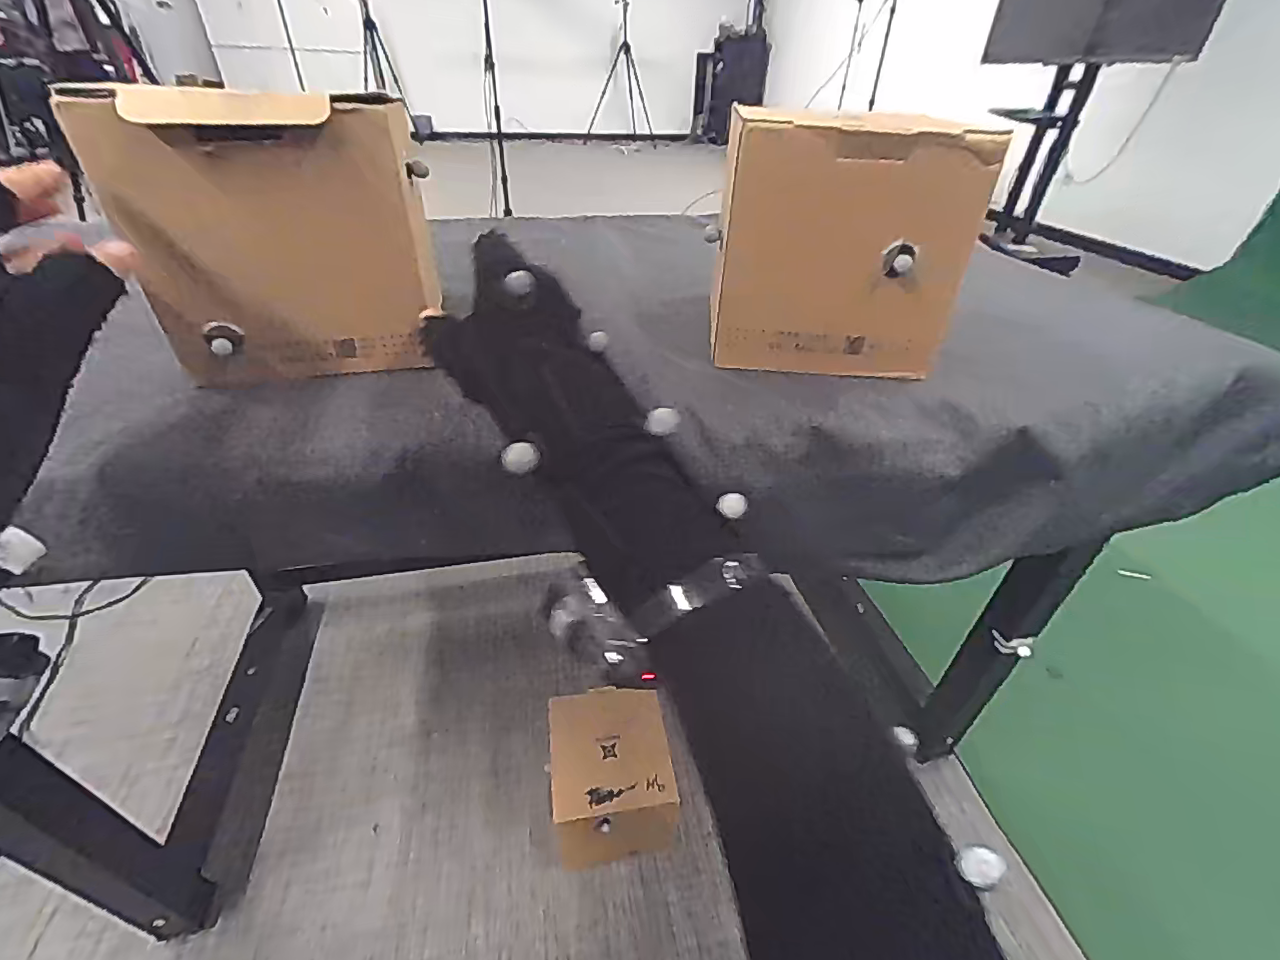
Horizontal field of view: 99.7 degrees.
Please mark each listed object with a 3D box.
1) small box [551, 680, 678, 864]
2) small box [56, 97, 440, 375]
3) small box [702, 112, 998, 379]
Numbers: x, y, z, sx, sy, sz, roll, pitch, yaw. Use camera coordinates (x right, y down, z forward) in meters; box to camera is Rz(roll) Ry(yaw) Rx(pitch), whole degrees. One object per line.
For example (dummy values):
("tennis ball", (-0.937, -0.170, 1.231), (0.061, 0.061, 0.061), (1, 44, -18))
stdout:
("small box", (-0.044, 0.433, 0.812), (0.168, 0.176, 0.179), (-6, 37, -8))
("small box", (-0.254, -0.188, 0.414), (0.168, 0.176, 0.179), (-8, 37, -14))
("small box", (0.143, -0.195, 0.445), (0.168, 0.176, 0.179), (5, 36, 3))
